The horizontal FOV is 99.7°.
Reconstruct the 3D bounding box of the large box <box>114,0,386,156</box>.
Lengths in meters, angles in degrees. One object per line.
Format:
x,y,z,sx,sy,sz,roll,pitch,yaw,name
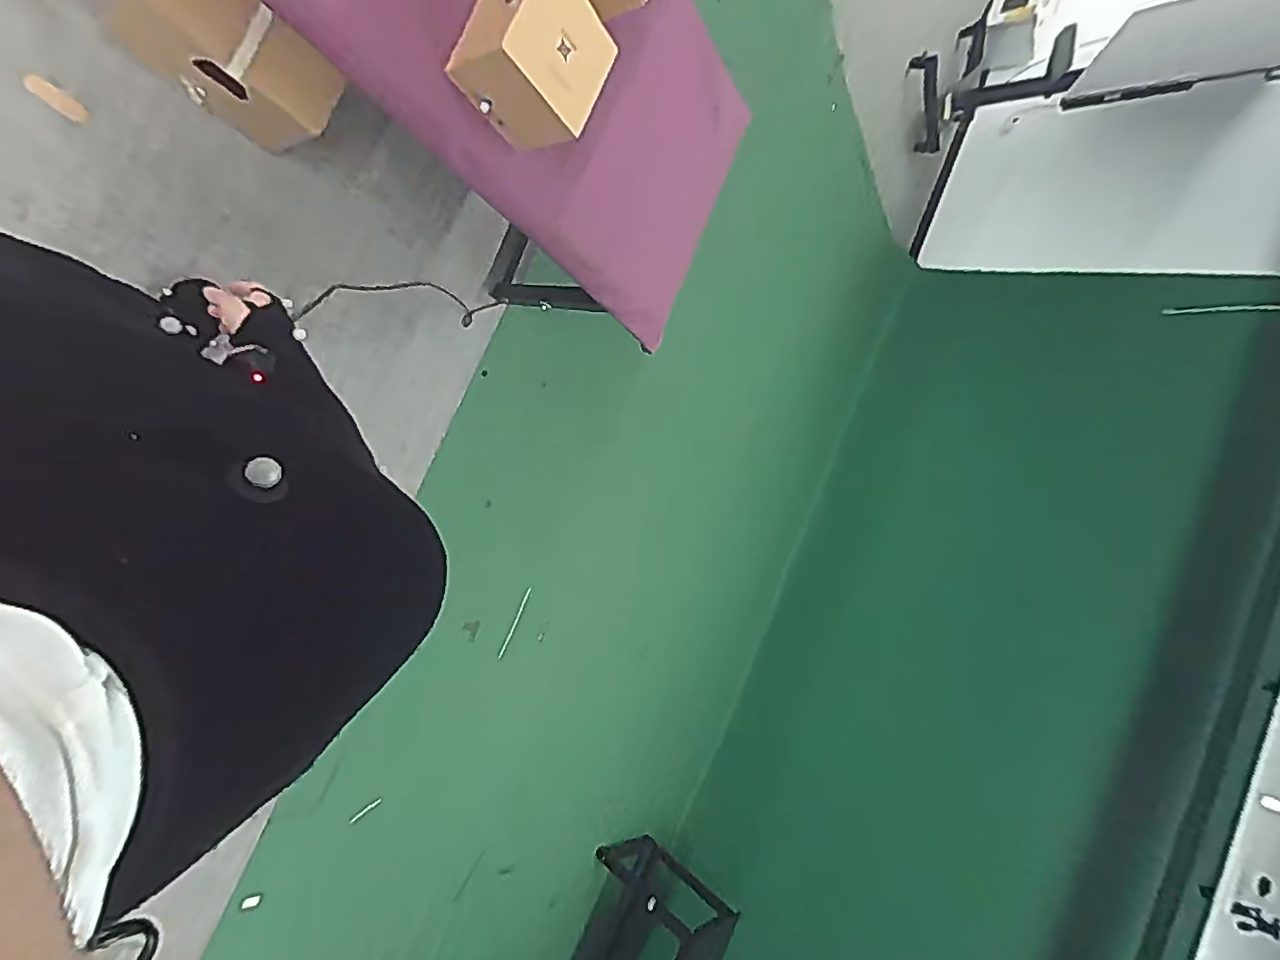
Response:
-0.772,-0.957,1.093,0.320,0.320,0.408,28,82,-51,large box

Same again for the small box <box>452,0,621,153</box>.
-0.167,-0.665,0.863,0.168,0.176,0.179,30,81,-49,small box
